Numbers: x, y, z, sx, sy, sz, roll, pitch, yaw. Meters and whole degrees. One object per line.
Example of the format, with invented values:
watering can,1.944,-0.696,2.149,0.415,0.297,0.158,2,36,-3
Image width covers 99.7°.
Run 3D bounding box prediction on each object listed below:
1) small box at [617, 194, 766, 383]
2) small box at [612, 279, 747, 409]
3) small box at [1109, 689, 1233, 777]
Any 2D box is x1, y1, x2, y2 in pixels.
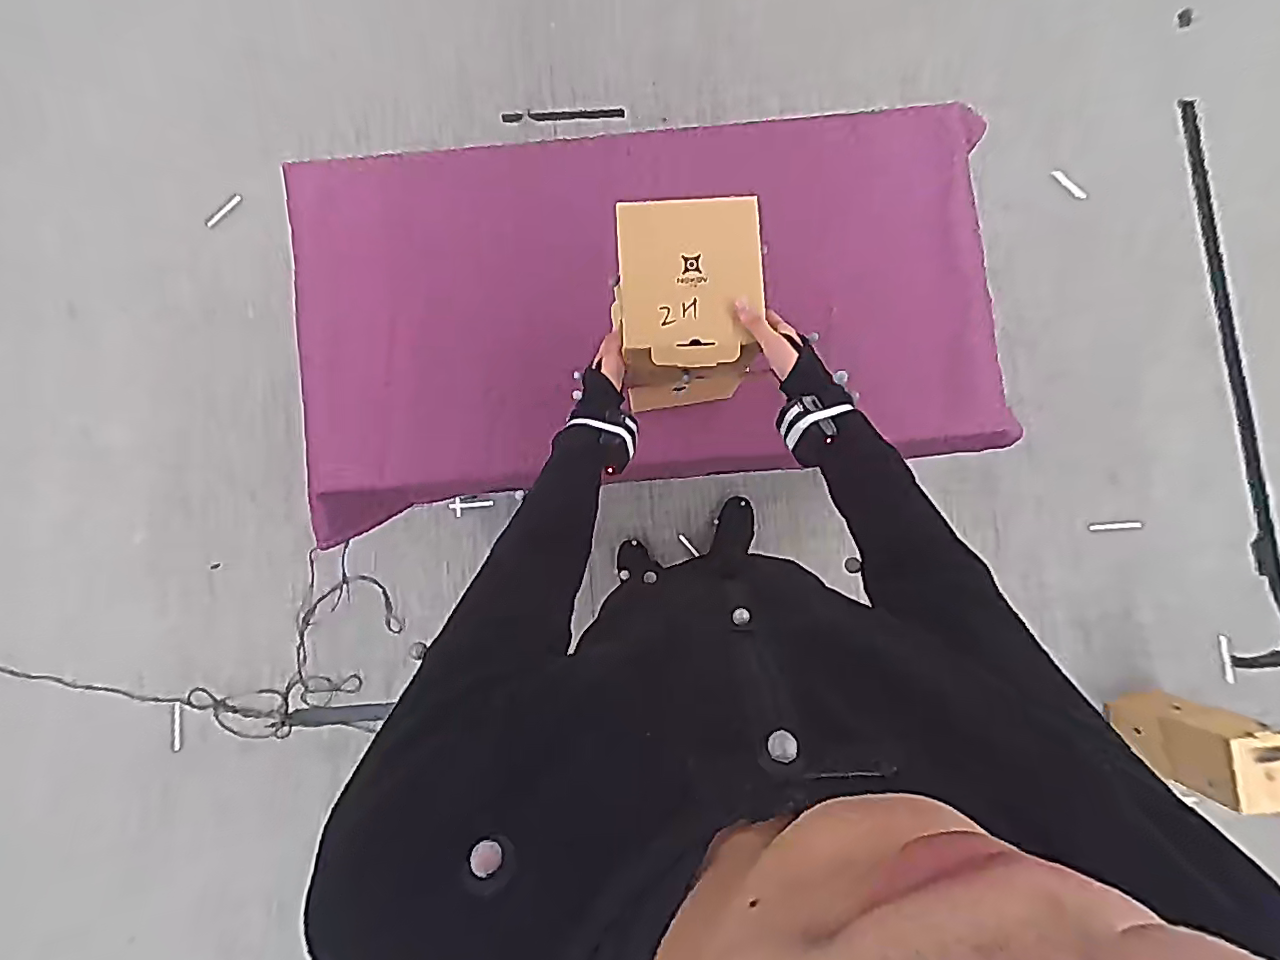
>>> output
small box,0.057,-0.233,0.693,0.168,0.176,0.179,-3,86,0
small box,0.058,-0.218,0.858,0.179,0.176,0.168,-9,86,-1
small box,1.461,0.697,1.504,0.179,0.176,0.168,-9,86,0
